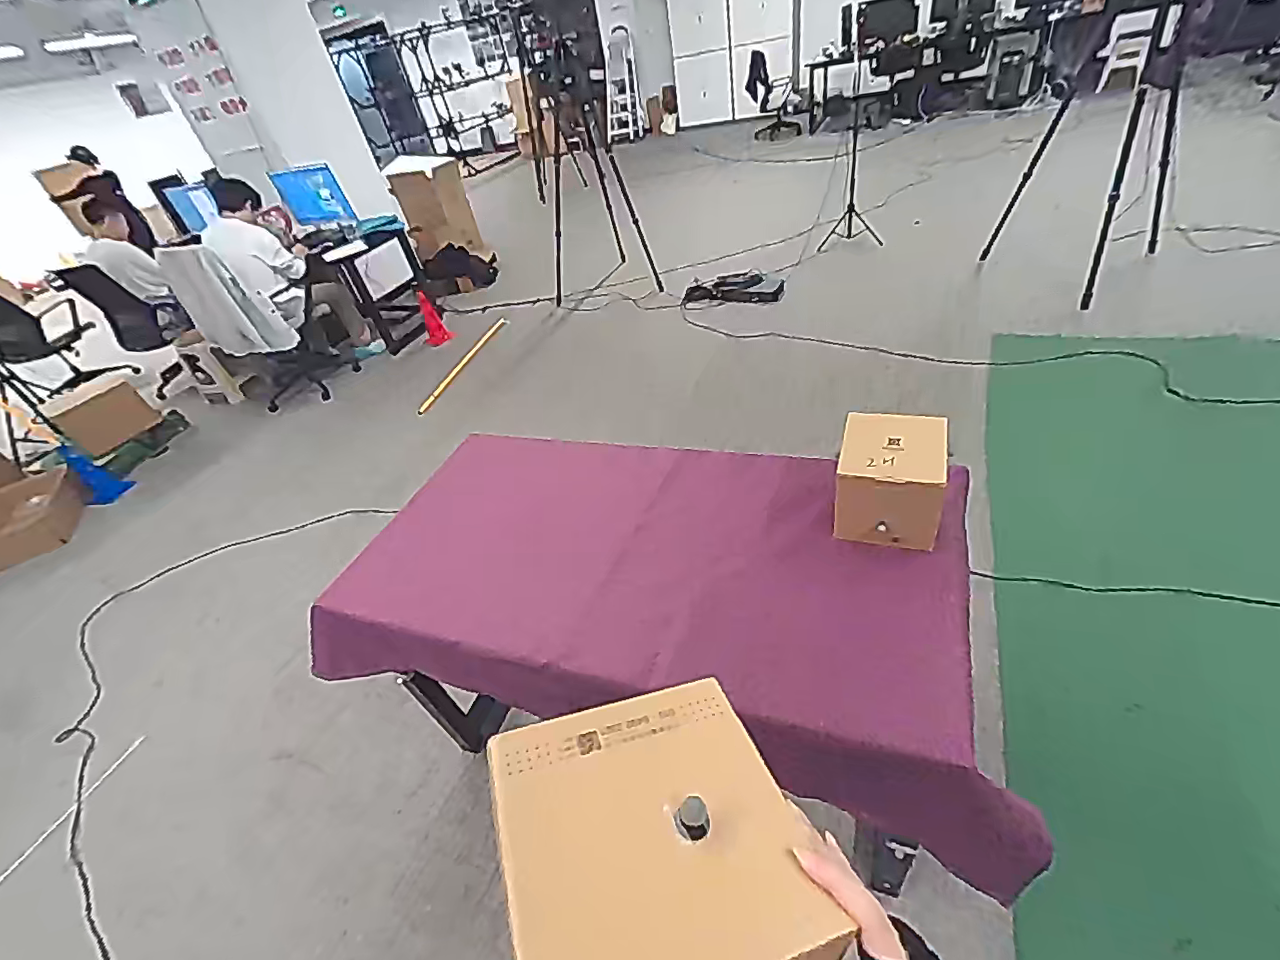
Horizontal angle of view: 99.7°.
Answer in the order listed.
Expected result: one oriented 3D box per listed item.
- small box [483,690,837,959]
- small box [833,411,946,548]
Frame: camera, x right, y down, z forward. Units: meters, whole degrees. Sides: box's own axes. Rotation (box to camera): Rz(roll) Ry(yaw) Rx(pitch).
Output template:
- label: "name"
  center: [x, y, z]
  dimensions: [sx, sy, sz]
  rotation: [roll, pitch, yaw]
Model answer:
- label: "small box"
  center: [-0.006, 0.265, 0.358]
  dimensions: [0.168, 0.179, 0.176]
  rotation: [-8, 32, -18]
- label: "small box"
  center: [0.449, -0.004, 0.983]
  dimensions: [0.168, 0.176, 0.179]
  rotation: [7, 47, 25]
